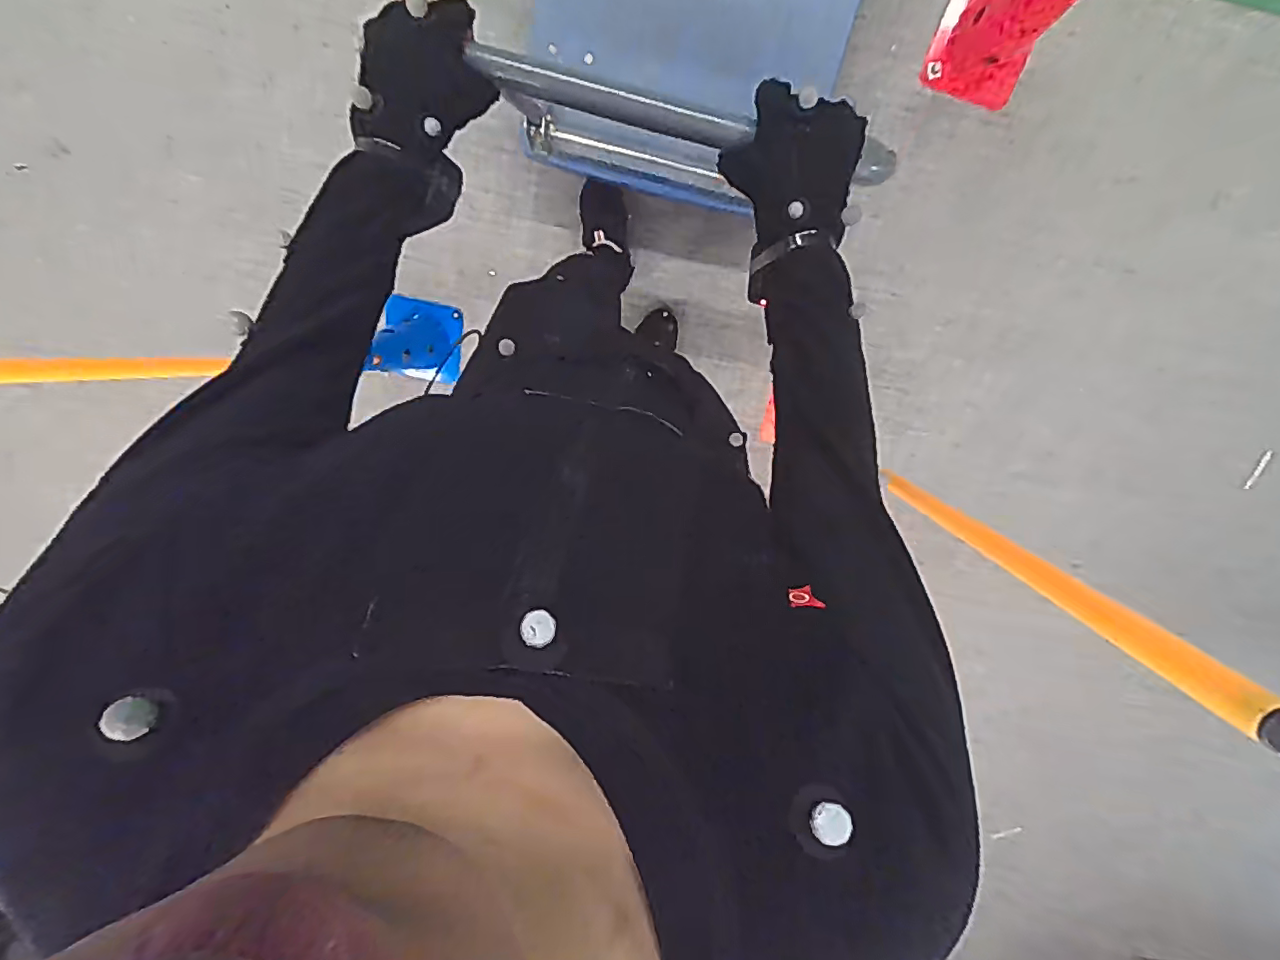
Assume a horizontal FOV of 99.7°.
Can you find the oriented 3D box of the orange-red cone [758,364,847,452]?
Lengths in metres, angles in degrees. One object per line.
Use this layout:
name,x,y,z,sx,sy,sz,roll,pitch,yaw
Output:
orange-red cone,0.413,-0.133,1.261,0.199,0.360,0.198,12,111,0
